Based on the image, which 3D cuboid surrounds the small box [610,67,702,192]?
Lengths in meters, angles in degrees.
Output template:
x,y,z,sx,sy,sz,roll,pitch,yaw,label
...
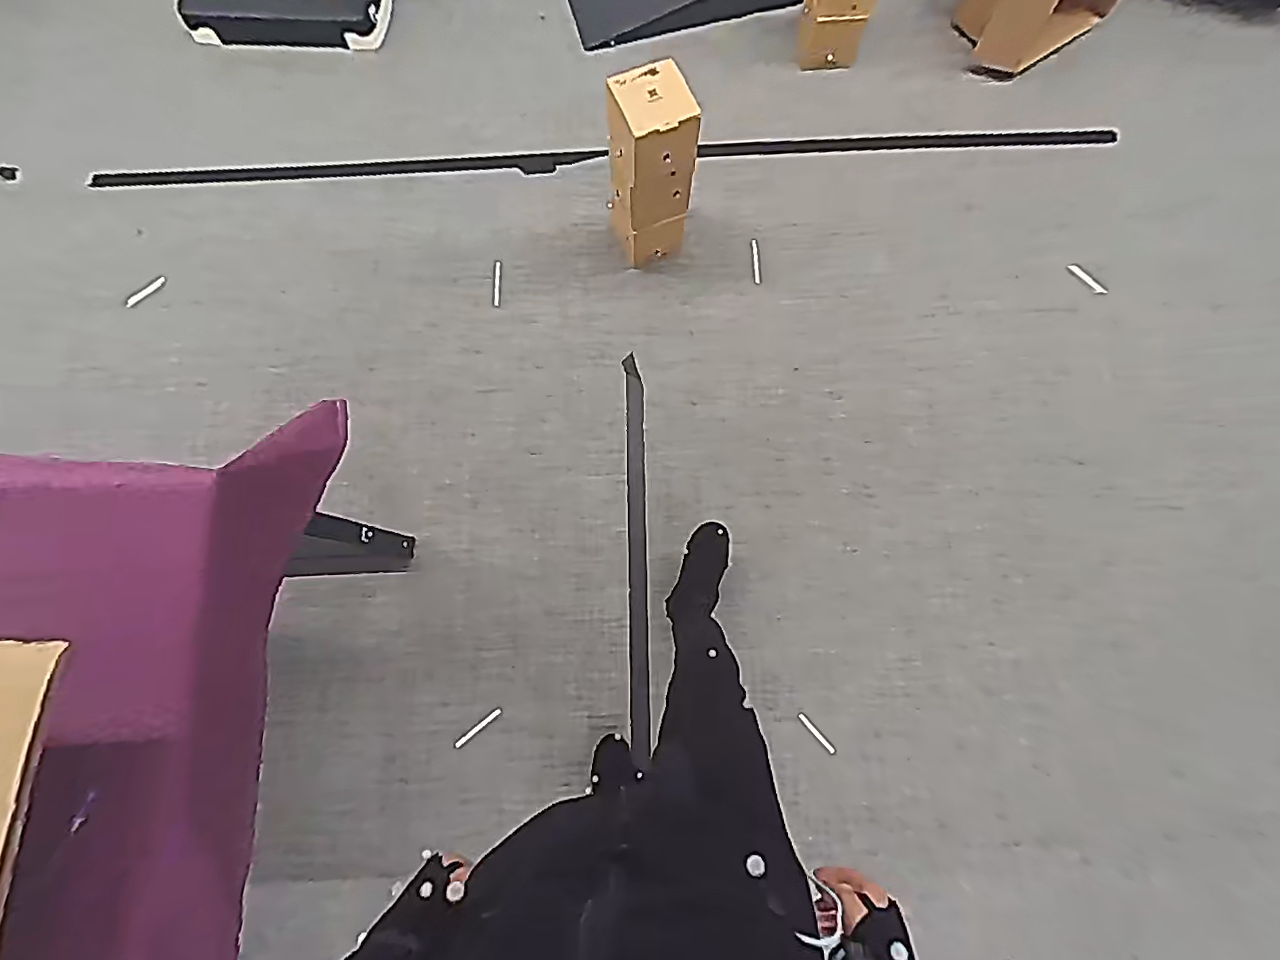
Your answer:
x,y,z,sx,sy,sz,roll,pitch,yaw,label
0.037,-0.831,1.303,0.168,0.176,0.179,-21,78,-5,small box
